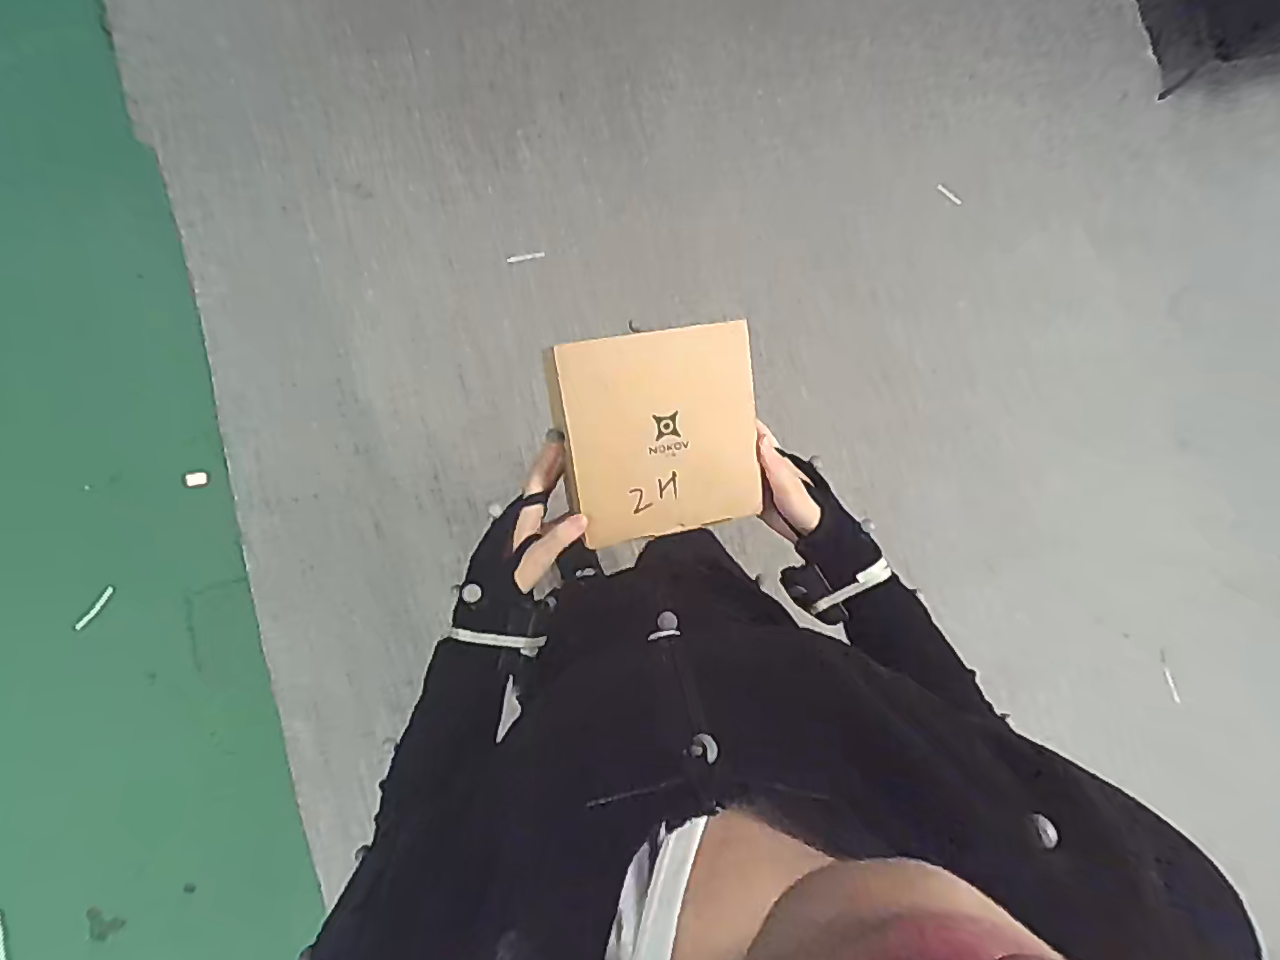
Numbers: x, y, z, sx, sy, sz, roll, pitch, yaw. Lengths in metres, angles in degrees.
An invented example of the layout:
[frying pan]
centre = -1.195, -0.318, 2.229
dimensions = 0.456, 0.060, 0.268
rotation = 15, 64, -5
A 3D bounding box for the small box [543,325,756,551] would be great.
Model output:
[small box]
centre = 0.000, -0.051, 0.540
dimensions = 0.168, 0.176, 0.179
rotation = -11, 105, -11
